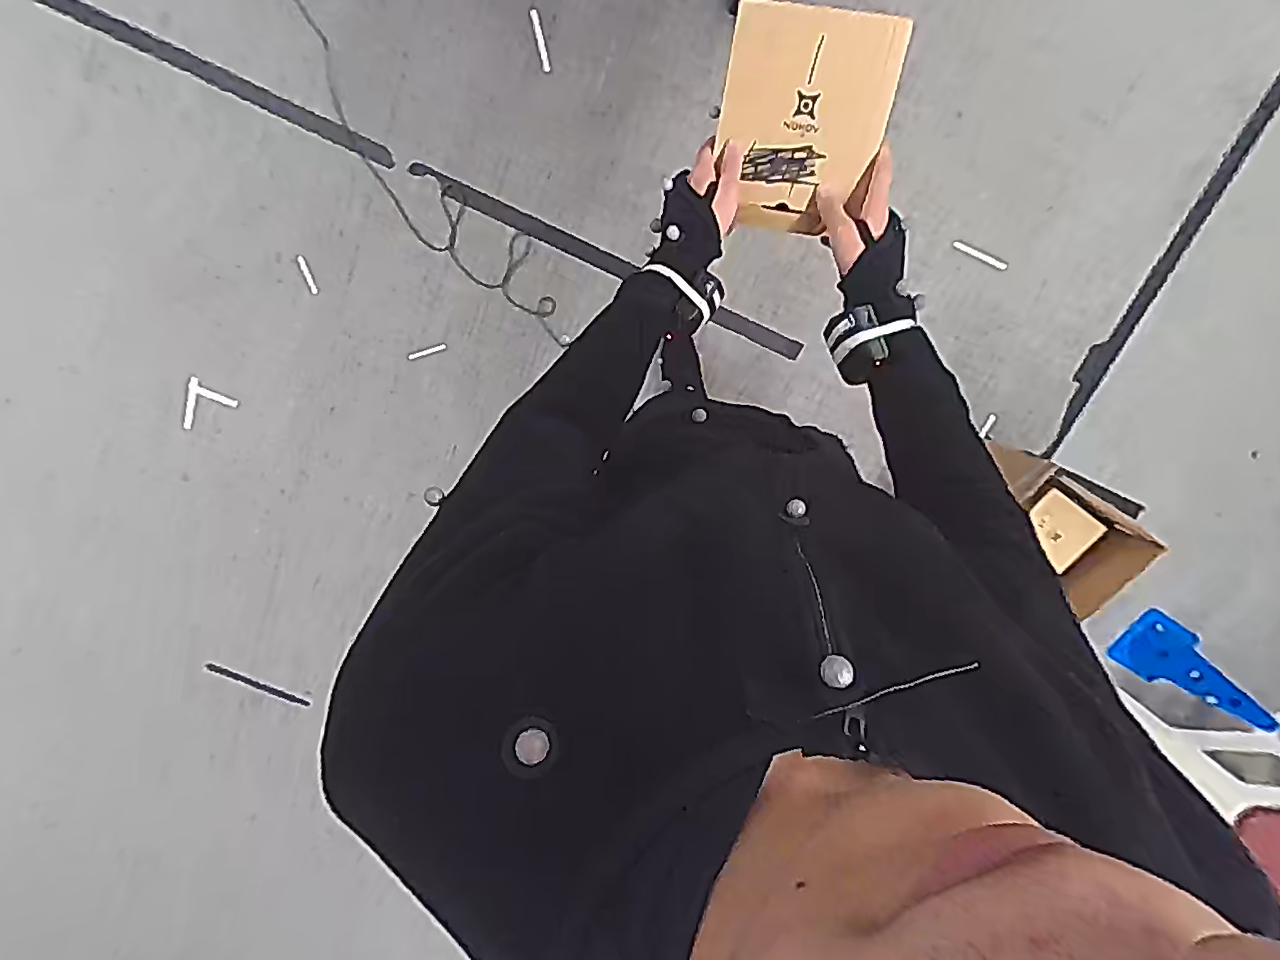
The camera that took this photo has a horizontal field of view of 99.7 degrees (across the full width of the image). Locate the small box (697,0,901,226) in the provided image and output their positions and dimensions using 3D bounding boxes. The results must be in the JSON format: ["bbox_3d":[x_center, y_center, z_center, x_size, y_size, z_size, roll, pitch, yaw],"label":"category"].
[{"bbox_3d":[0.163,-0.395,0.612,0.168,0.176,0.179,10,111,4],"label":"small box"}]
